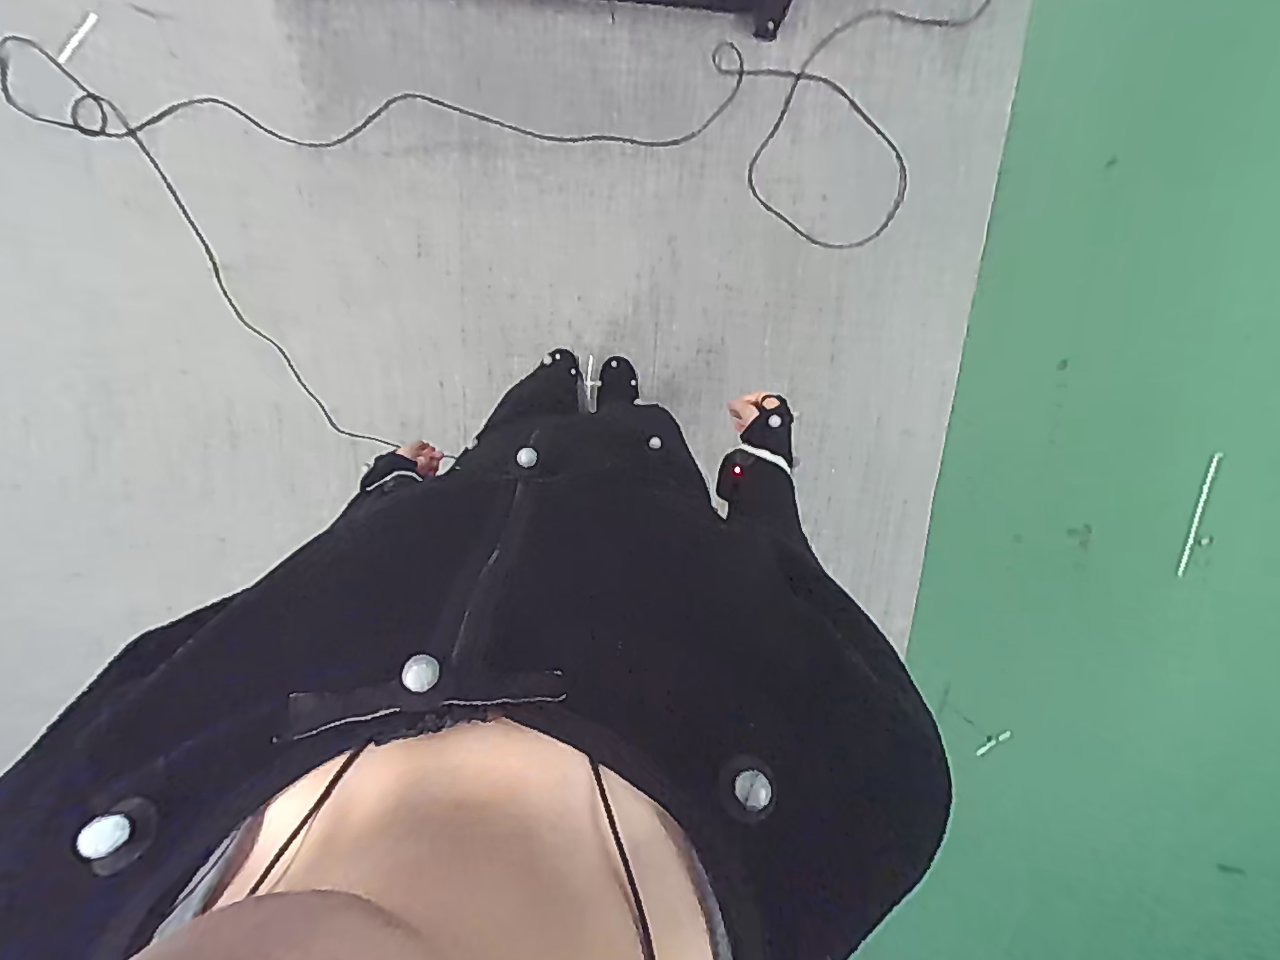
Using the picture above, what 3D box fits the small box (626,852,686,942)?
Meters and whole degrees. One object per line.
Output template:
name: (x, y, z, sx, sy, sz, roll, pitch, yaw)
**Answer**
small box: (0.047, 1.338, 1.743, 0.179, 0.176, 0.168, 3, 104, -2)
